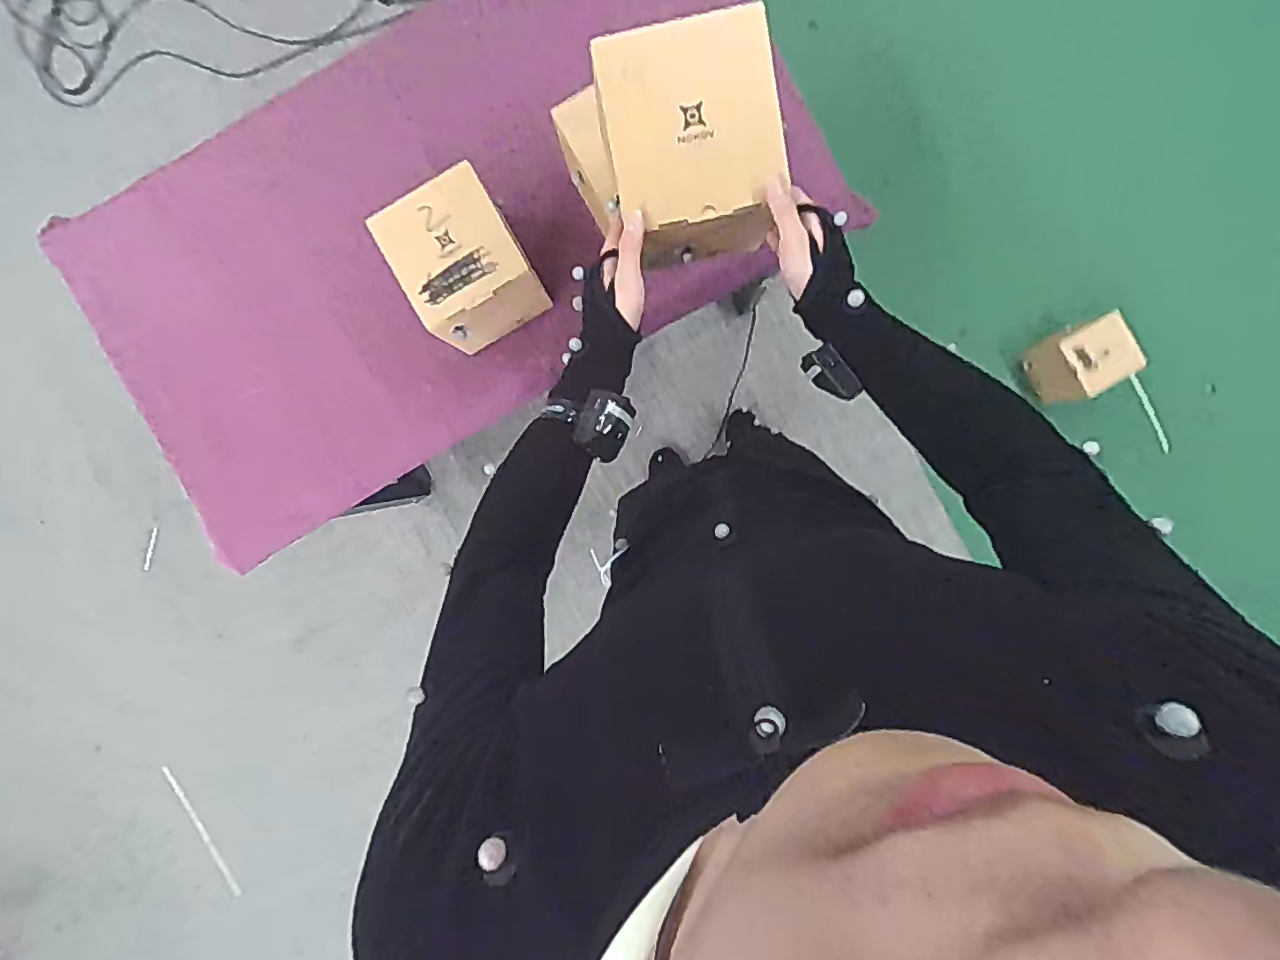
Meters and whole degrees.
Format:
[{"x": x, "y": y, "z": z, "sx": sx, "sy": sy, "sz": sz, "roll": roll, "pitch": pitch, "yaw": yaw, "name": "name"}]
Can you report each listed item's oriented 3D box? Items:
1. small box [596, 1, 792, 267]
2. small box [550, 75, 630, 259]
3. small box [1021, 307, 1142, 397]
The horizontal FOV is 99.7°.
[{"x": 0.050, "y": -0.352, "z": 0.586, "sx": 0.168, "sy": 0.176, "sz": 0.179, "roll": -11, "pitch": 100, "yaw": 1, "name": "small box"}, {"x": -0.009, "y": -0.464, "z": 0.795, "sx": 0.168, "sy": 0.176, "sz": 0.179, "roll": -29, "pitch": 91, "yaw": 3, "name": "small box"}, {"x": 1.207, "y": -0.345, "z": 1.499, "sx": 0.179, "sy": 0.176, "sz": 0.168, "roll": -30, "pitch": 91, "yaw": 2, "name": "small box"}]
